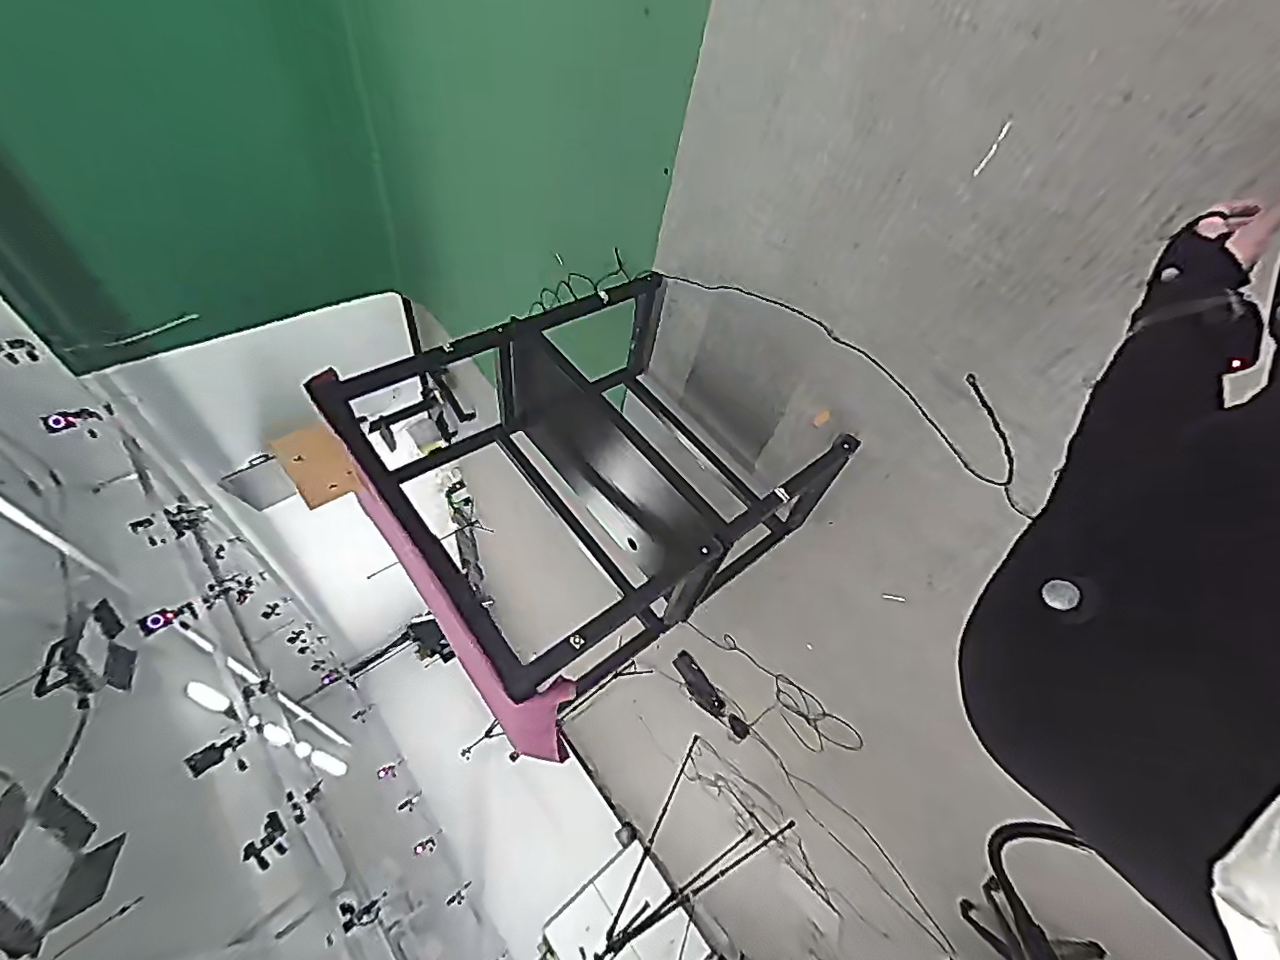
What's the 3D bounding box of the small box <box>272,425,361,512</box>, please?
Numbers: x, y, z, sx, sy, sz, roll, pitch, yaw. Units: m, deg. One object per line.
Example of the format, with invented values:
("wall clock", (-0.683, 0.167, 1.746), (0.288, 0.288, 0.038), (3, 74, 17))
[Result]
("small box", (-0.983, -0.038, 1.664), (0.179, 0.176, 0.168), (49, 148, 18))
